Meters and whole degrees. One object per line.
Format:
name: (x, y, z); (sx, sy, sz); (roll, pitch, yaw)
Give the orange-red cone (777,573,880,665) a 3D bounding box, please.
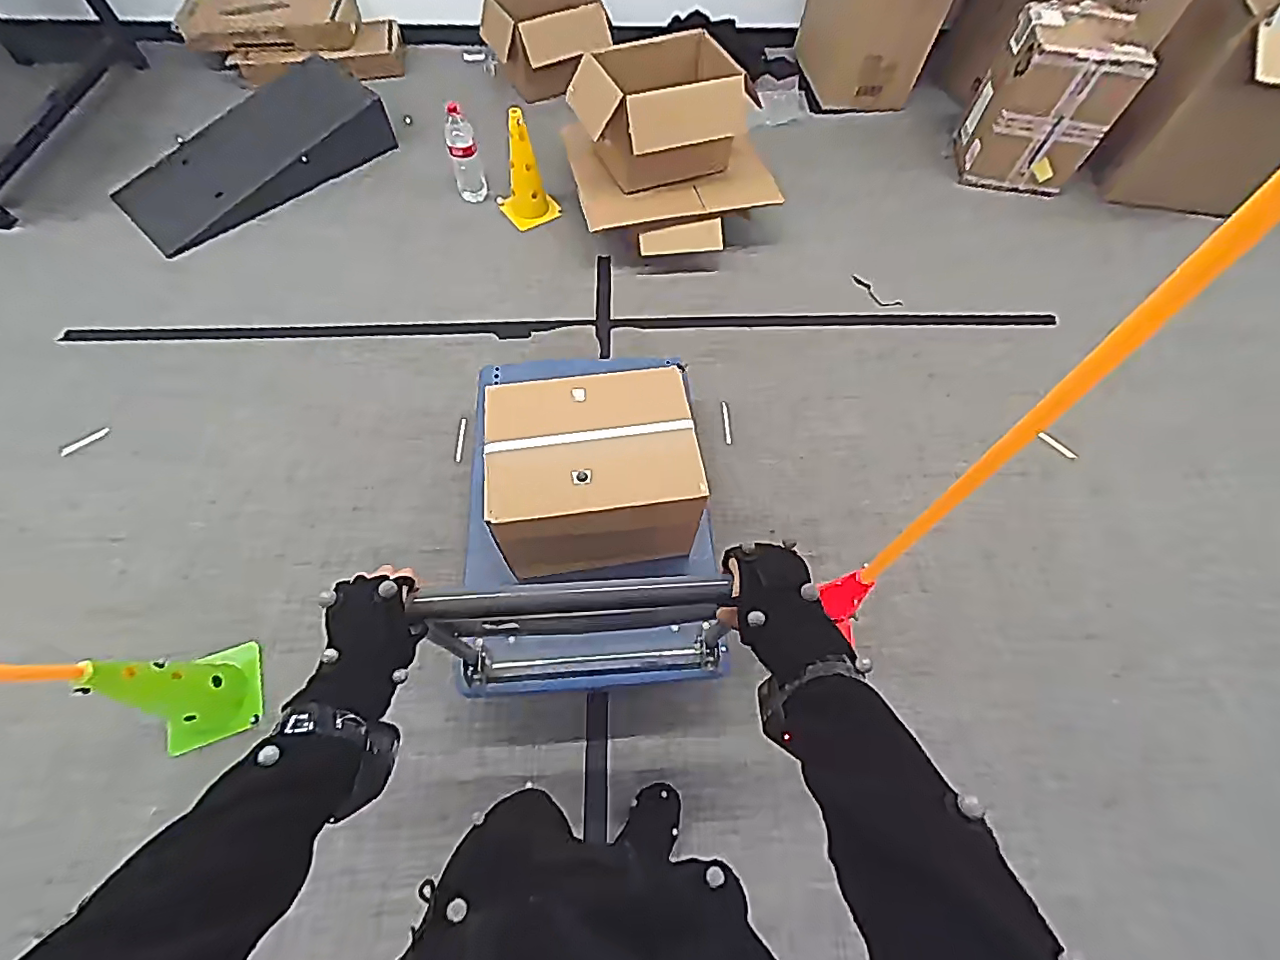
orange-red cone: (0.452, 0.281, 1.218); (0.199, 0.360, 0.198); (5, 62, 0)
